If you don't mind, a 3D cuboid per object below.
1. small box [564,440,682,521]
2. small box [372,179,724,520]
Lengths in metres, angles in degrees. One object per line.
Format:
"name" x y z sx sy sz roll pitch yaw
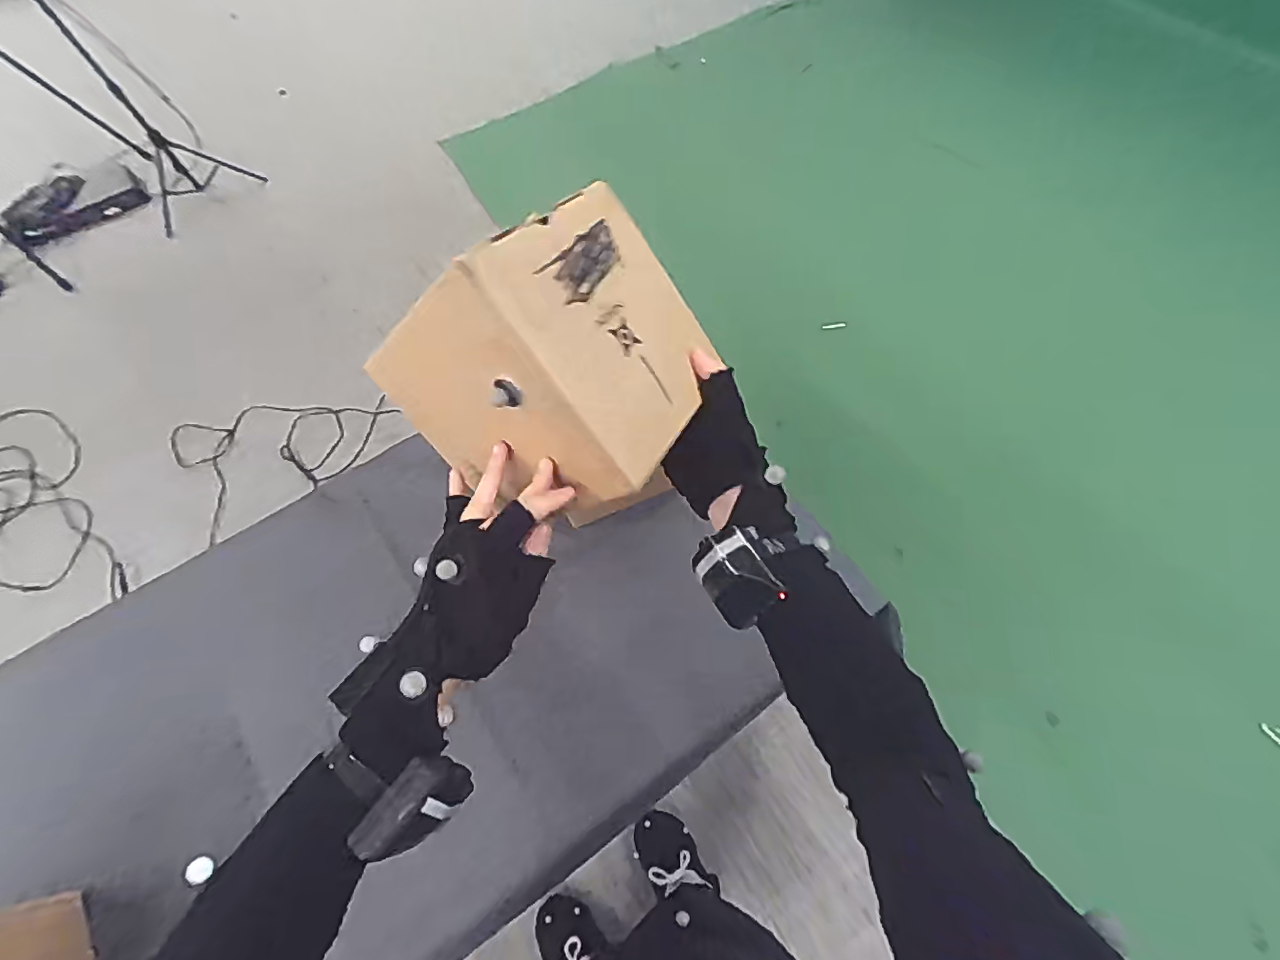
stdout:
"small box" -0.049 -0.066 0.732 0.179 0.176 0.168 -21 65 -7
"small box" -0.068 -0.089 0.425 0.176 0.179 0.168 -16 29 42
